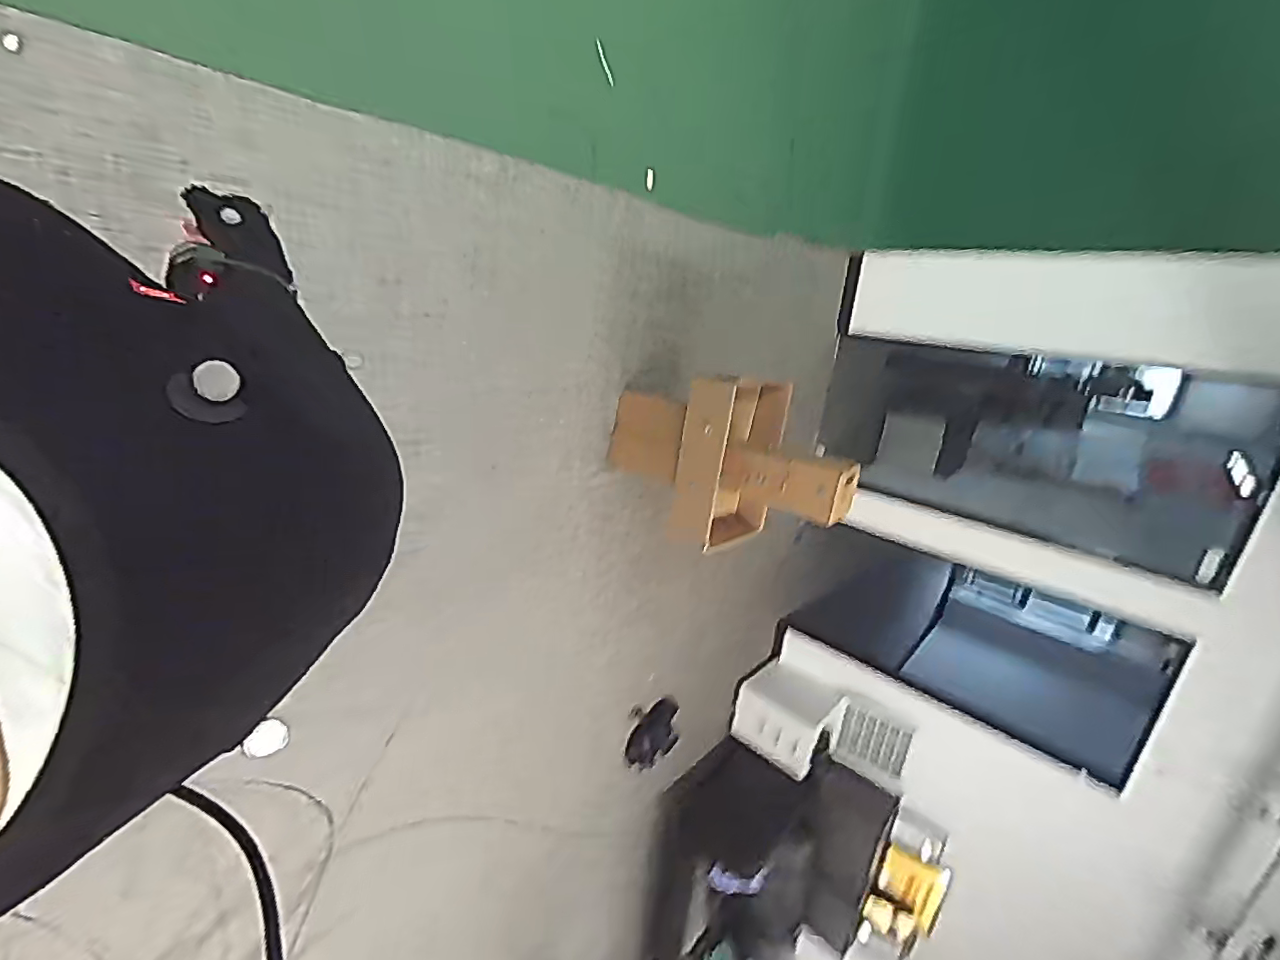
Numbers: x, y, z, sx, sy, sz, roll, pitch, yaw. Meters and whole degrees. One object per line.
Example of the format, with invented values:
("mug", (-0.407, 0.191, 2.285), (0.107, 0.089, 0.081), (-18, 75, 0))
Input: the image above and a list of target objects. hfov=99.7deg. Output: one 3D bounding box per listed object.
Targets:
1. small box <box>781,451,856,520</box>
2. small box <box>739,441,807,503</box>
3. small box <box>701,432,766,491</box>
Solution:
("small box", (0.585, 0.009, 1.787), (0.168, 0.176, 0.179), (-16, 119, -45))
("small box", (0.465, -0.032, 1.893), (0.179, 0.176, 0.168), (-14, 117, -46))
("small box", (0.343, -0.072, 1.994), (0.179, 0.176, 0.168), (-16, 119, -48))
